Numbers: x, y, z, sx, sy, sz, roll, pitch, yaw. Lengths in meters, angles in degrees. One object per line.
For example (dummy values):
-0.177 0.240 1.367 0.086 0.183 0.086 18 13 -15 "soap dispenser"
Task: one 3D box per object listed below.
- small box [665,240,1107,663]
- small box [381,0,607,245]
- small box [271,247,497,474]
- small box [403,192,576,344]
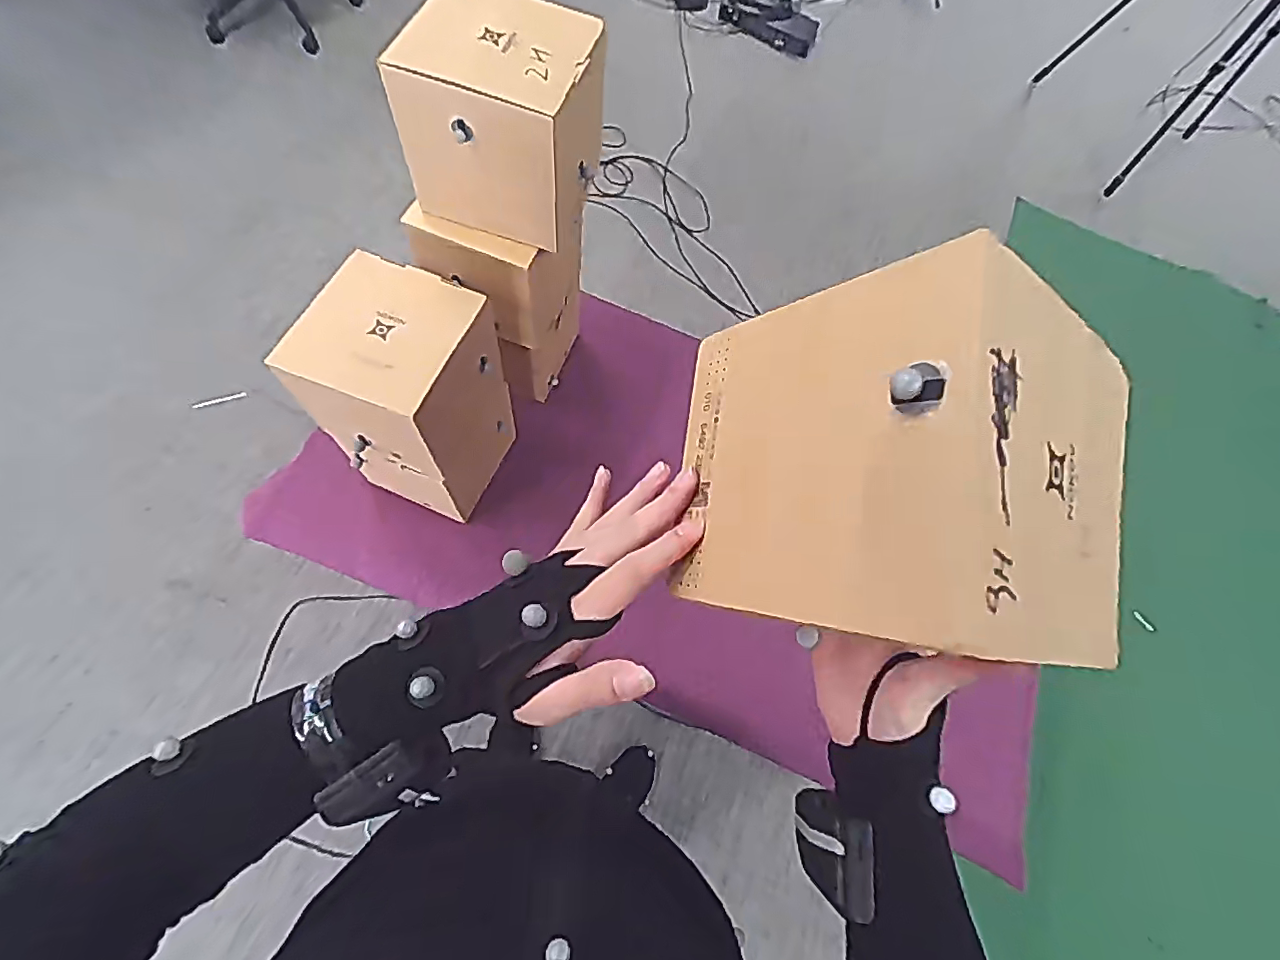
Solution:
0.142 0.002 0.316 0.179 0.176 0.168 16 77 -35 "small box"
-0.149 -0.400 0.608 0.179 0.176 0.168 18 67 -1 "small box"
-0.286 -0.135 0.657 0.168 0.176 0.179 21 66 1 "small box"
-0.190 -0.320 0.749 0.168 0.176 0.179 21 66 1 "small box"
